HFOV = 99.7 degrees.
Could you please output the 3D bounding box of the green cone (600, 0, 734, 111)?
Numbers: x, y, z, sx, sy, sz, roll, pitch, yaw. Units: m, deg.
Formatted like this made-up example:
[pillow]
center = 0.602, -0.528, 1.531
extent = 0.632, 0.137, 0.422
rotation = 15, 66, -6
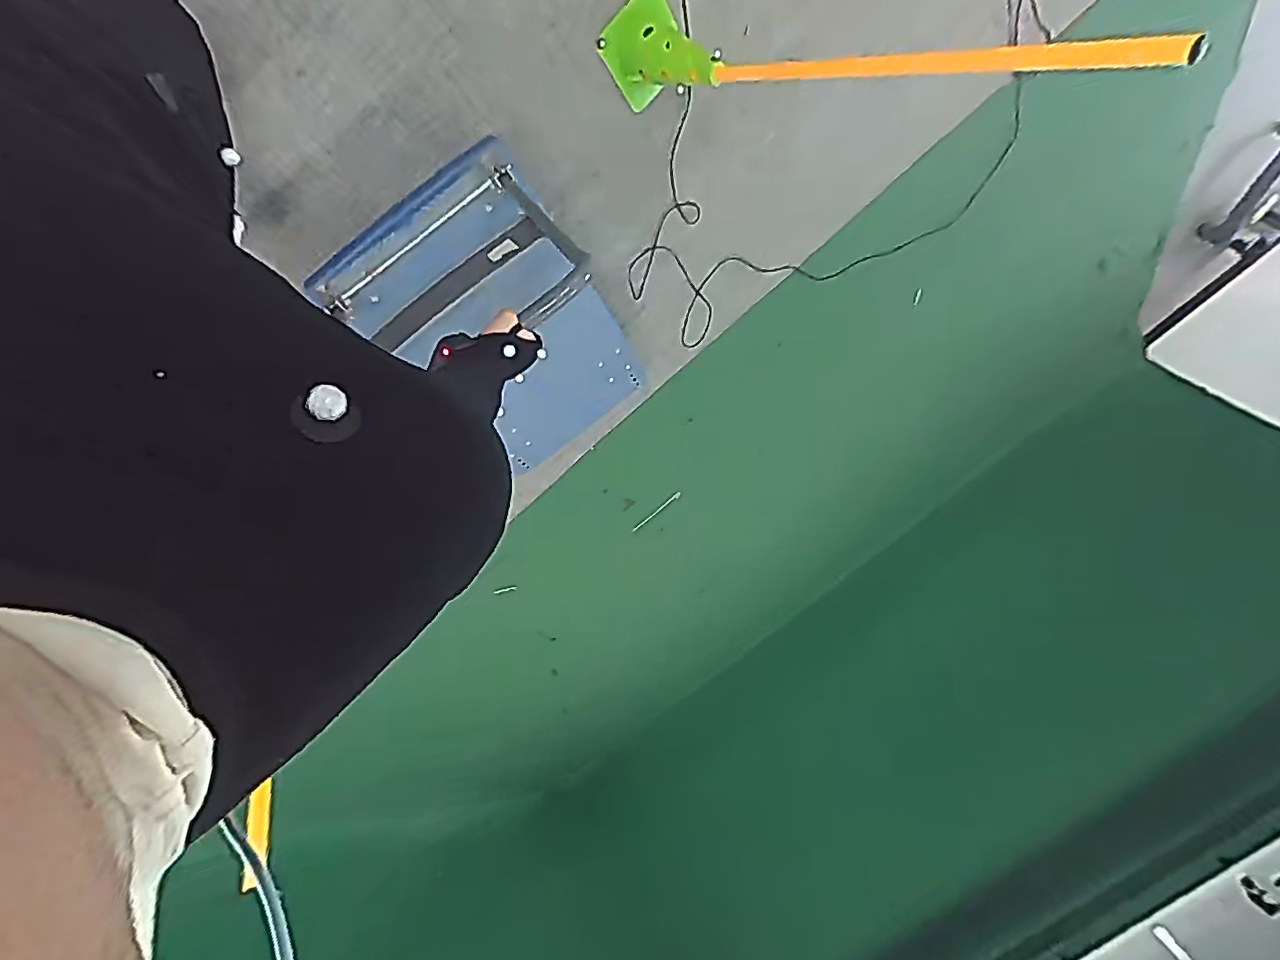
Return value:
[green cone]
center = 0.096, -0.967, 1.240
extent = 0.202, 0.368, 0.200
rotation = -44, 141, 10
